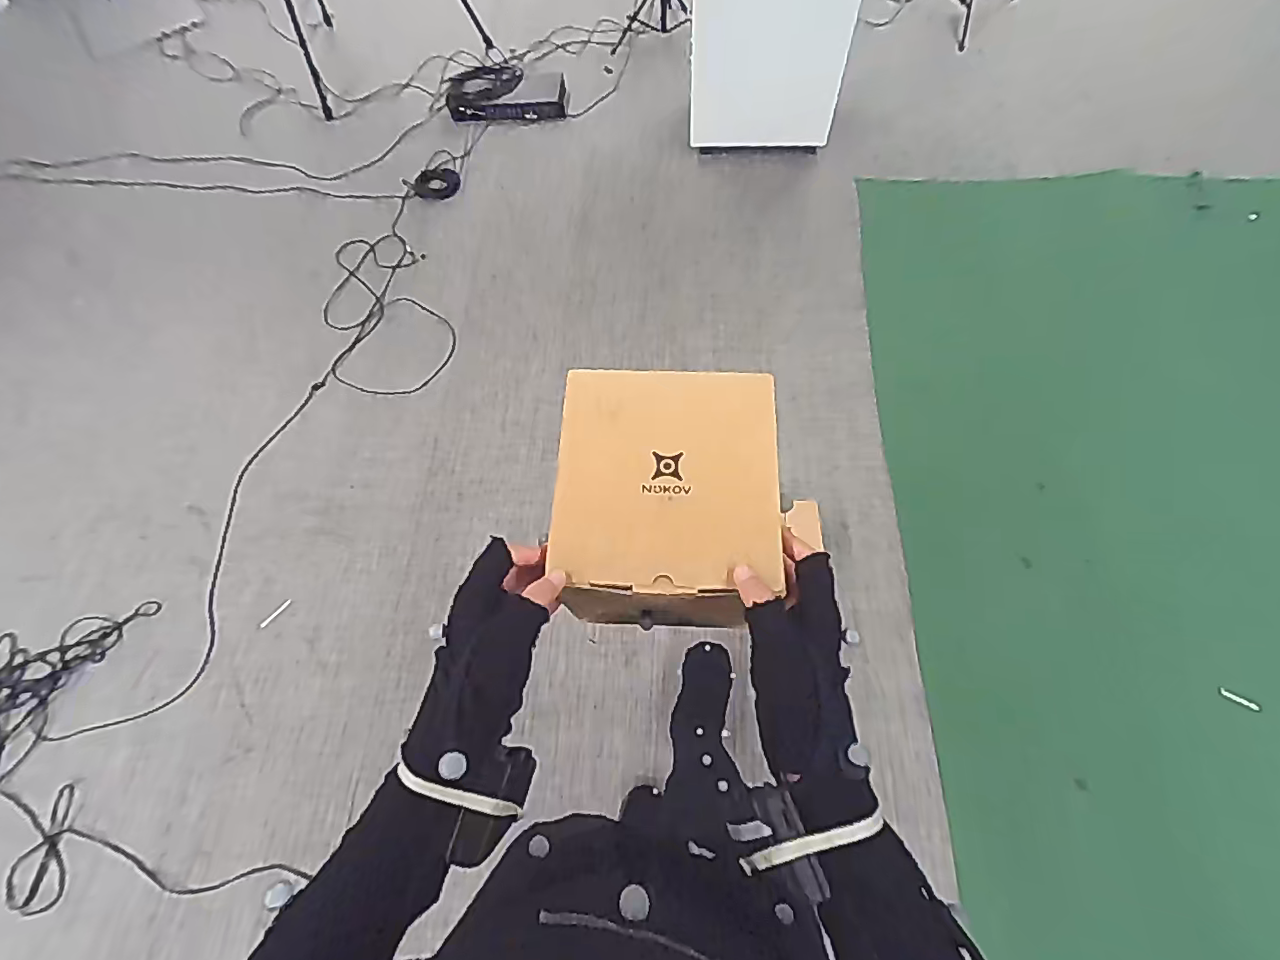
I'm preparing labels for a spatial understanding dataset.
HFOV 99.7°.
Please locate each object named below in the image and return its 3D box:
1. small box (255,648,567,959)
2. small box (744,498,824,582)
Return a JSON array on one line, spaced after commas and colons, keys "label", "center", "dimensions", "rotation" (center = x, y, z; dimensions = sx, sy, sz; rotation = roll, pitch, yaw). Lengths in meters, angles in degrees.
[{"label": "small box", "center": [-0.176, 0.259, 0.403], "dimensions": [0.168, 0.179, 0.176], "rotation": [-8, 42, -34]}, {"label": "small box", "center": [0.355, 0.156, 1.364], "dimensions": [0.168, 0.176, 0.179], "rotation": [0, 65, 4]}]
